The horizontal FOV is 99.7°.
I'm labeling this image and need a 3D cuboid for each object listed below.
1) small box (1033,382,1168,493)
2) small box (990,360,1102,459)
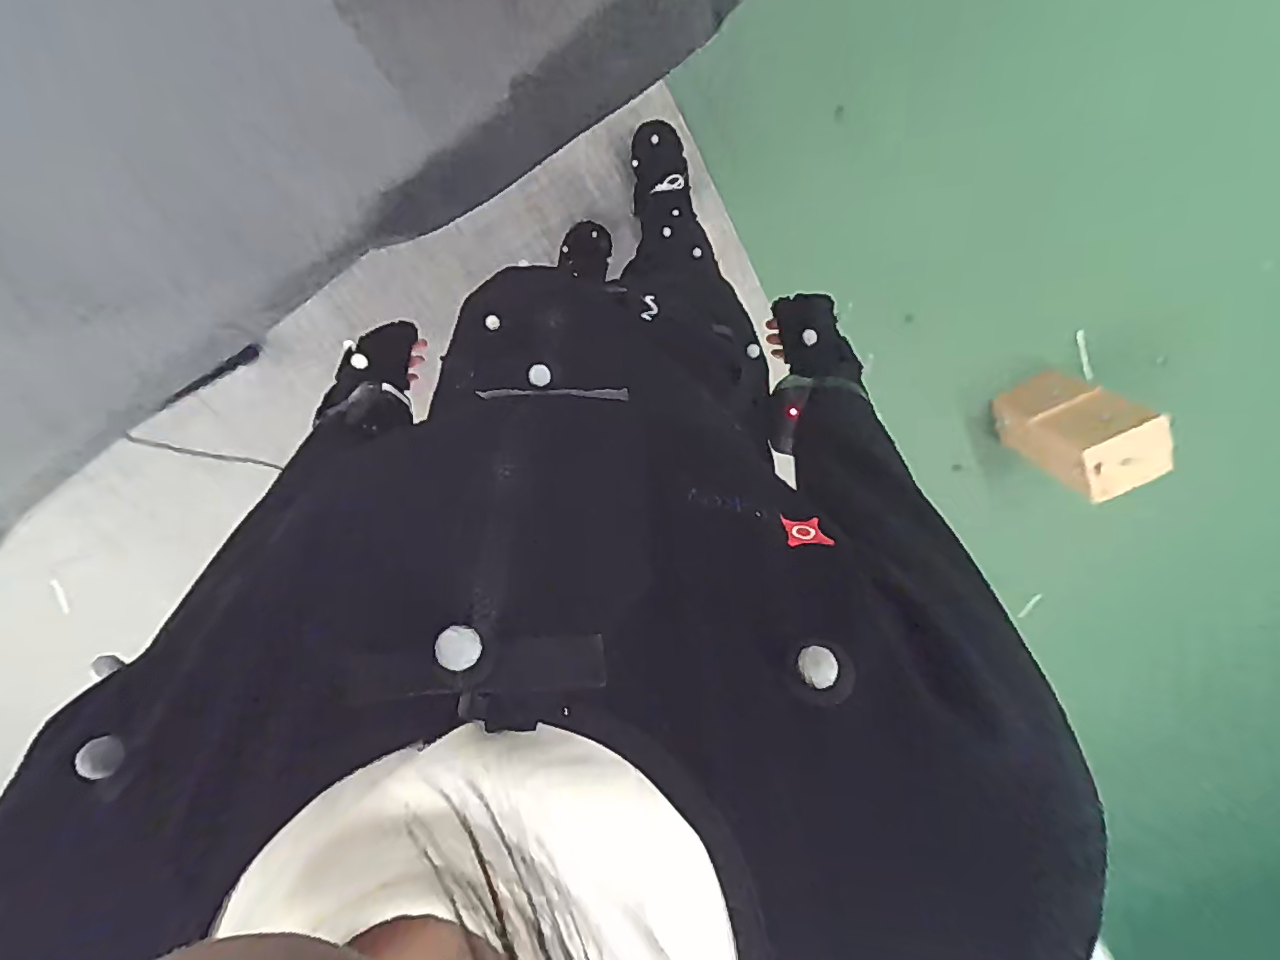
[{"bbox_3d":[1.087,-0.106,1.284,0.179,0.176,0.168,-29,117,12],"label":"small box"},{"bbox_3d":[1.071,-0.191,1.423,0.179,0.176,0.168,-28,117,14],"label":"small box"}]
